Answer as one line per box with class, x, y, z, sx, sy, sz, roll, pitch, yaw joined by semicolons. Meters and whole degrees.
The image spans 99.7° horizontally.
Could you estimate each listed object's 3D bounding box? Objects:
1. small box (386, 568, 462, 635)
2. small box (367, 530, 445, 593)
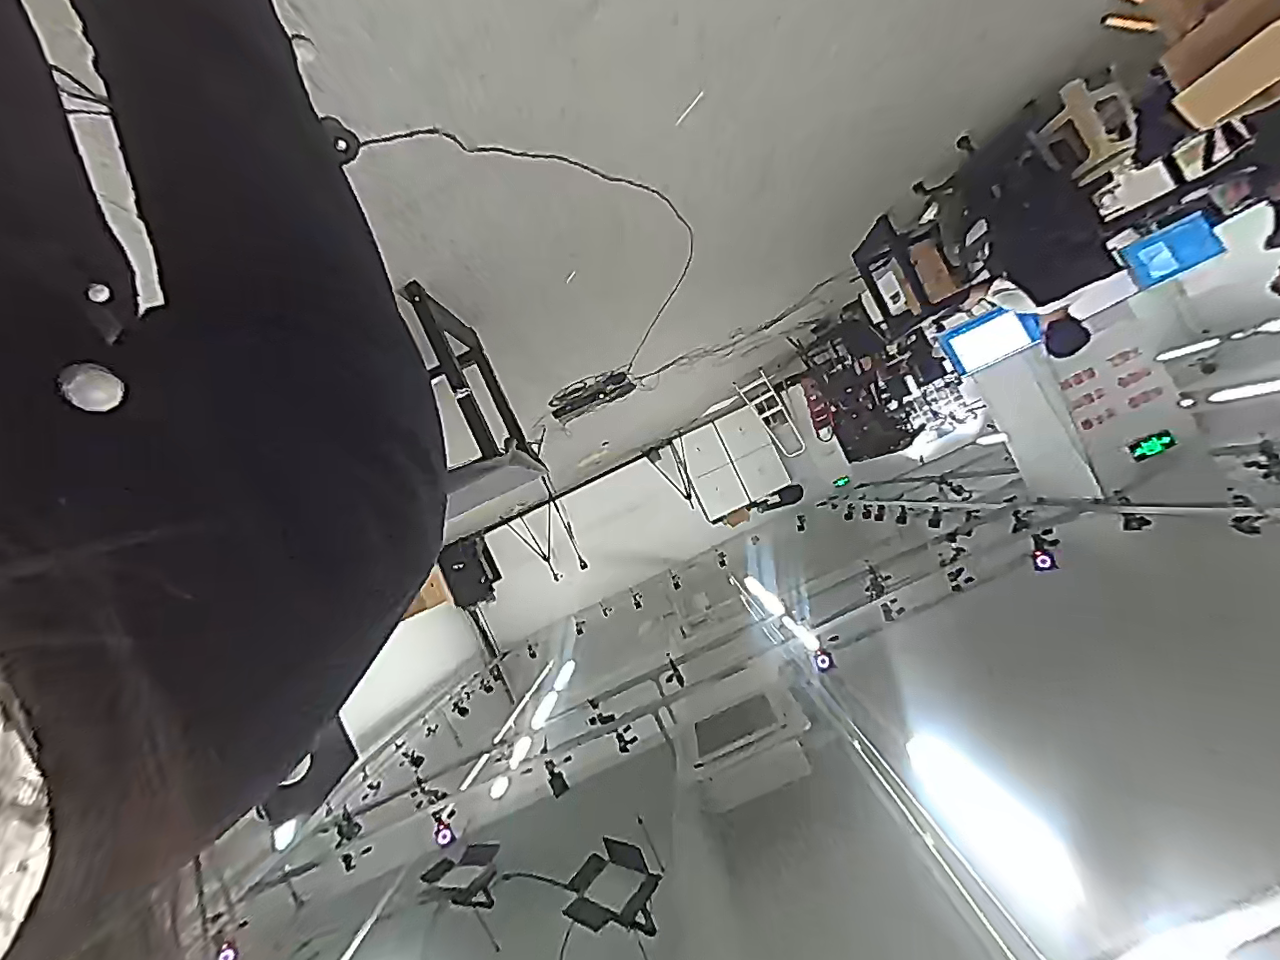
small box;-0.798;0.442;1.997;0.168;0.176;0.179;-27;177;4
small box;-0.874;0.294;2.019;0.179;0.176;0.168;-26;178;8
